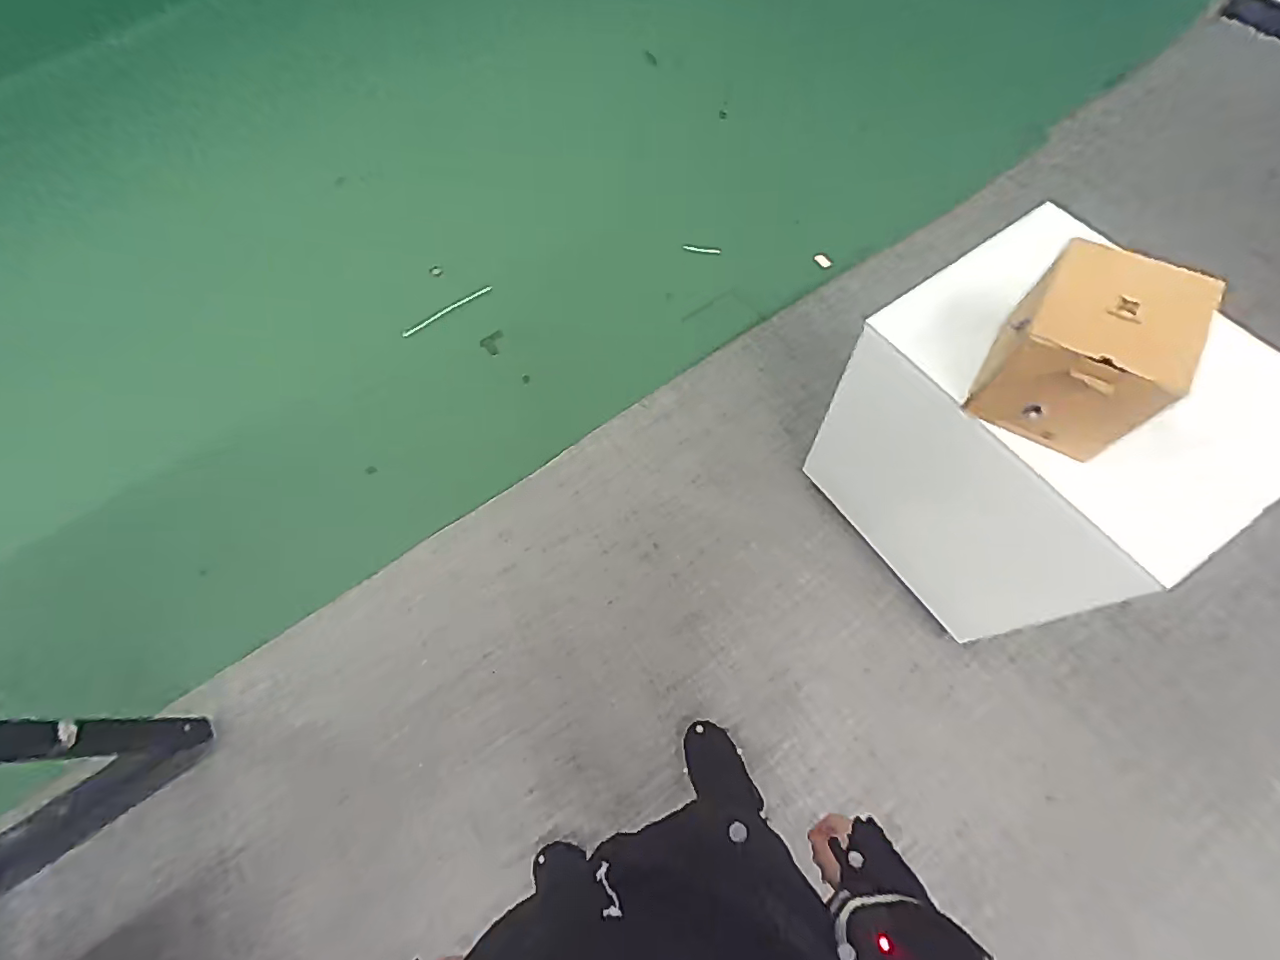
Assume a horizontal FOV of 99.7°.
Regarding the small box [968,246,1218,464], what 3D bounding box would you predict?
[{"bbox_3d":[0.561,-0.153,0.694,0.168,0.176,0.179,29,72,16],"label":"small box"}]
